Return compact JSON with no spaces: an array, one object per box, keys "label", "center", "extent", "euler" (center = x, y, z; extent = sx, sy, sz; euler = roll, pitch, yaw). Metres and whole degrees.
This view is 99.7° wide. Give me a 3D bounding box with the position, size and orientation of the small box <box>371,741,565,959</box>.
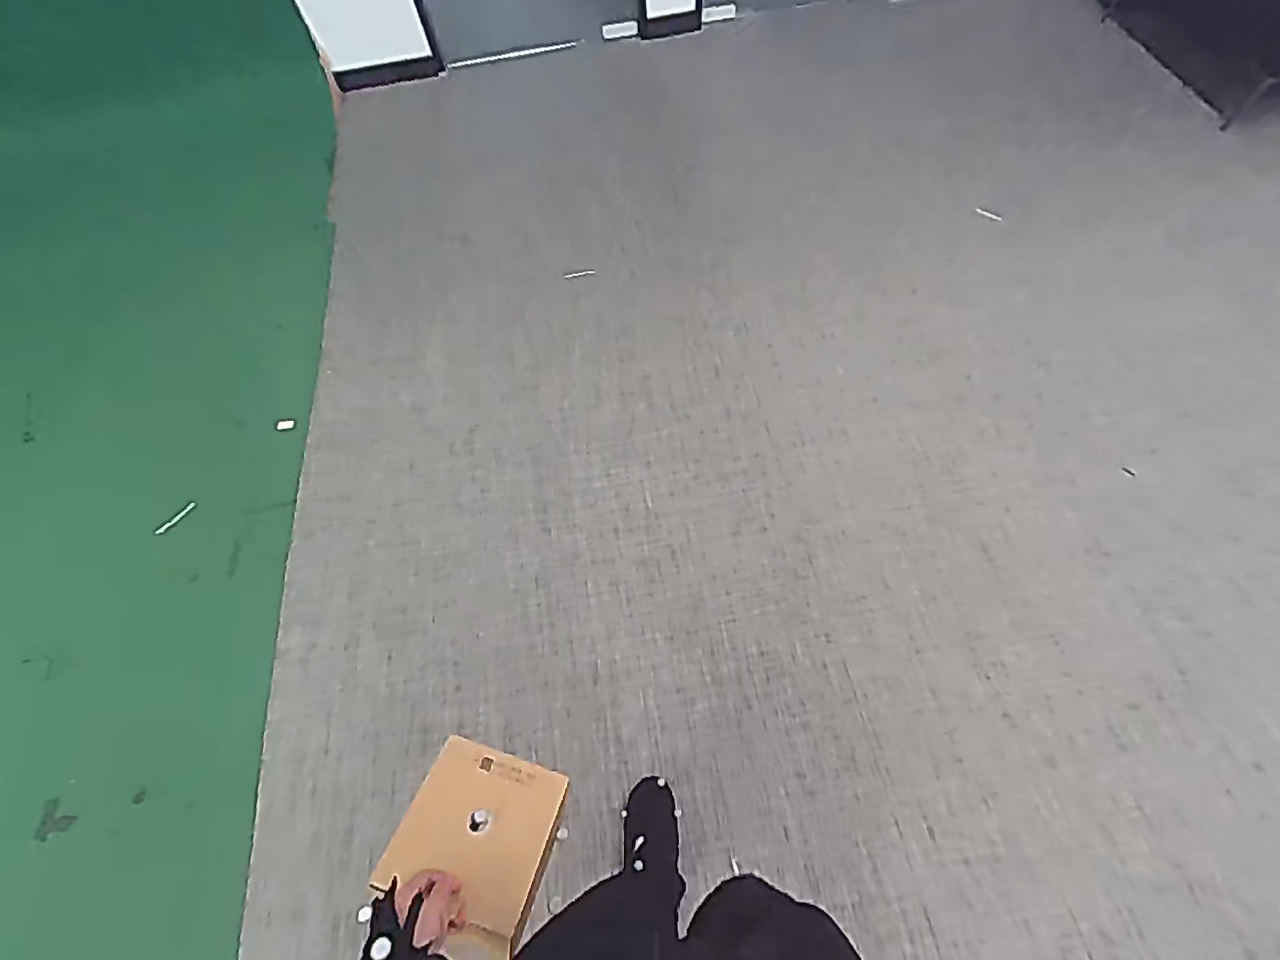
[{"label":"small box","center":[-0.200,0.457,0.675],"extent":[0.168,0.179,0.176],"euler":[16,41,5]}]
